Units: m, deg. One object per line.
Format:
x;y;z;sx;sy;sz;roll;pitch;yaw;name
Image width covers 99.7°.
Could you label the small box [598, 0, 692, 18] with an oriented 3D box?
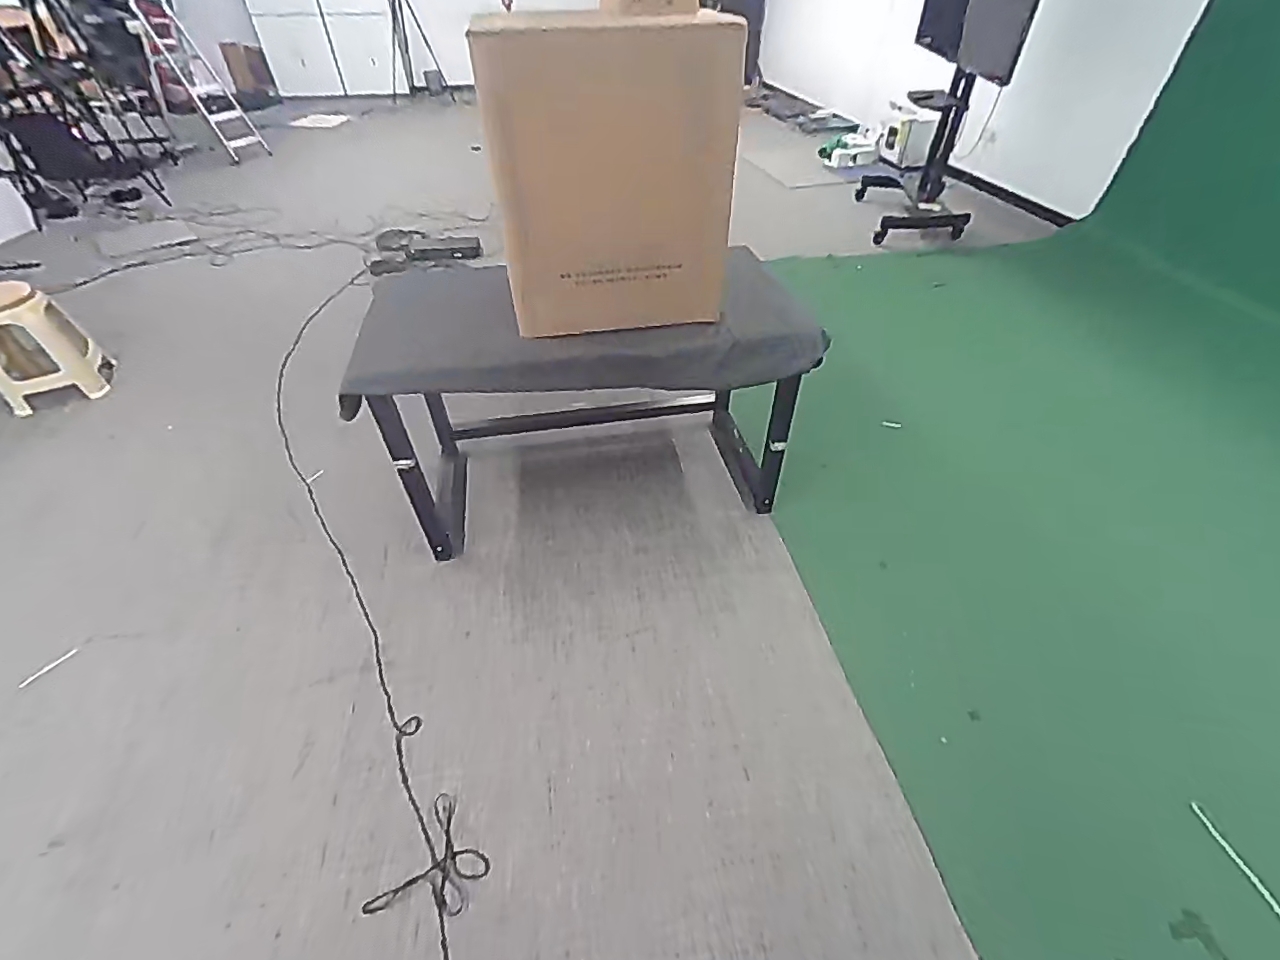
0.006;-1.038;1.078;0.168;0.176;0.179;-12;46;-11;small box
